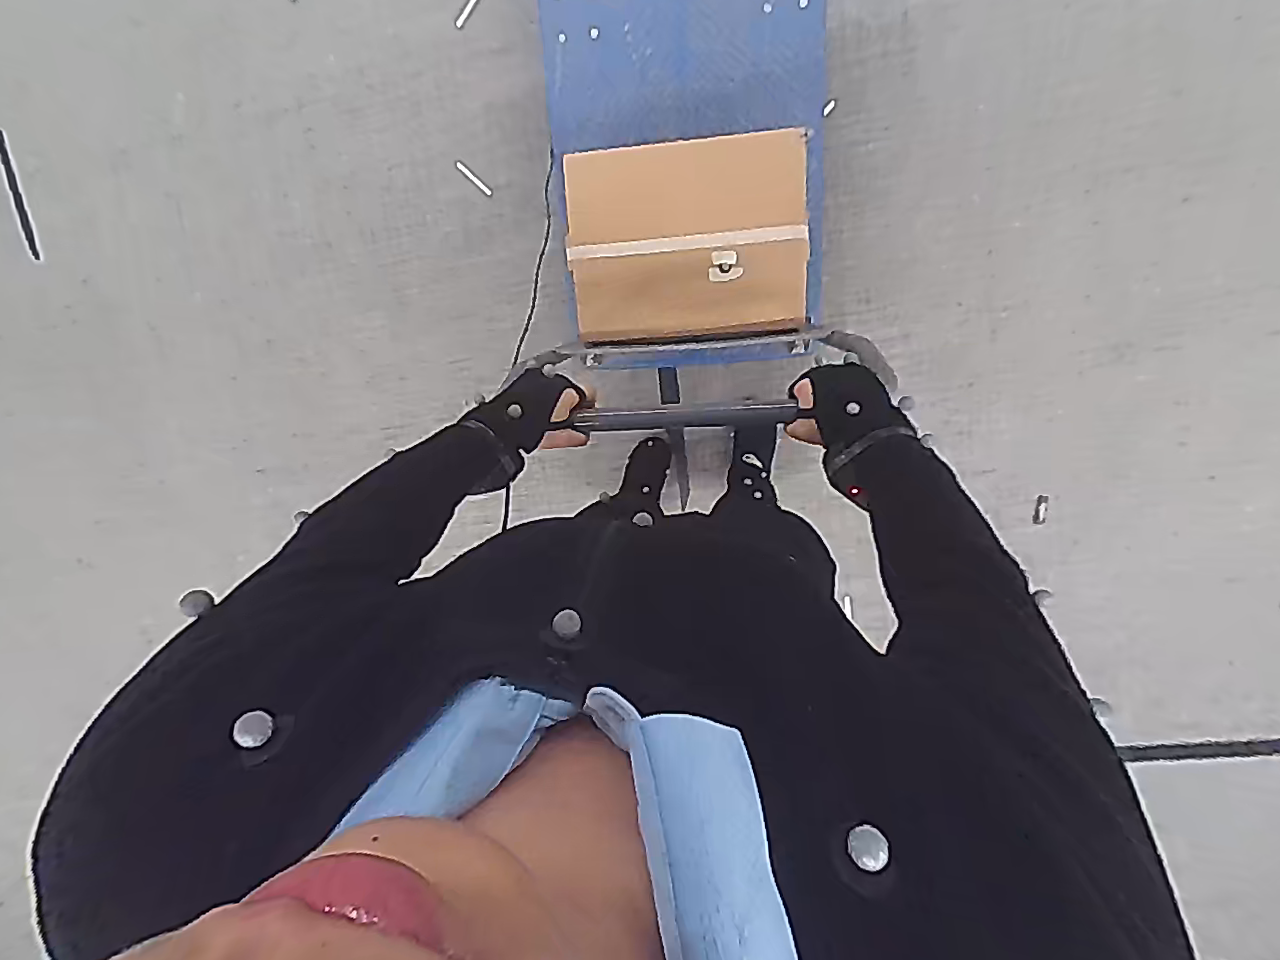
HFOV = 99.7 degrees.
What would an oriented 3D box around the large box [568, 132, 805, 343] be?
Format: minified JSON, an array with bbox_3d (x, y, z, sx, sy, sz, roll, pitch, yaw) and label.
[{"bbox_3d":[0.096,-0.451,1.091,0.408,0.320,0.320,-3,105,6],"label":"large box"}]
